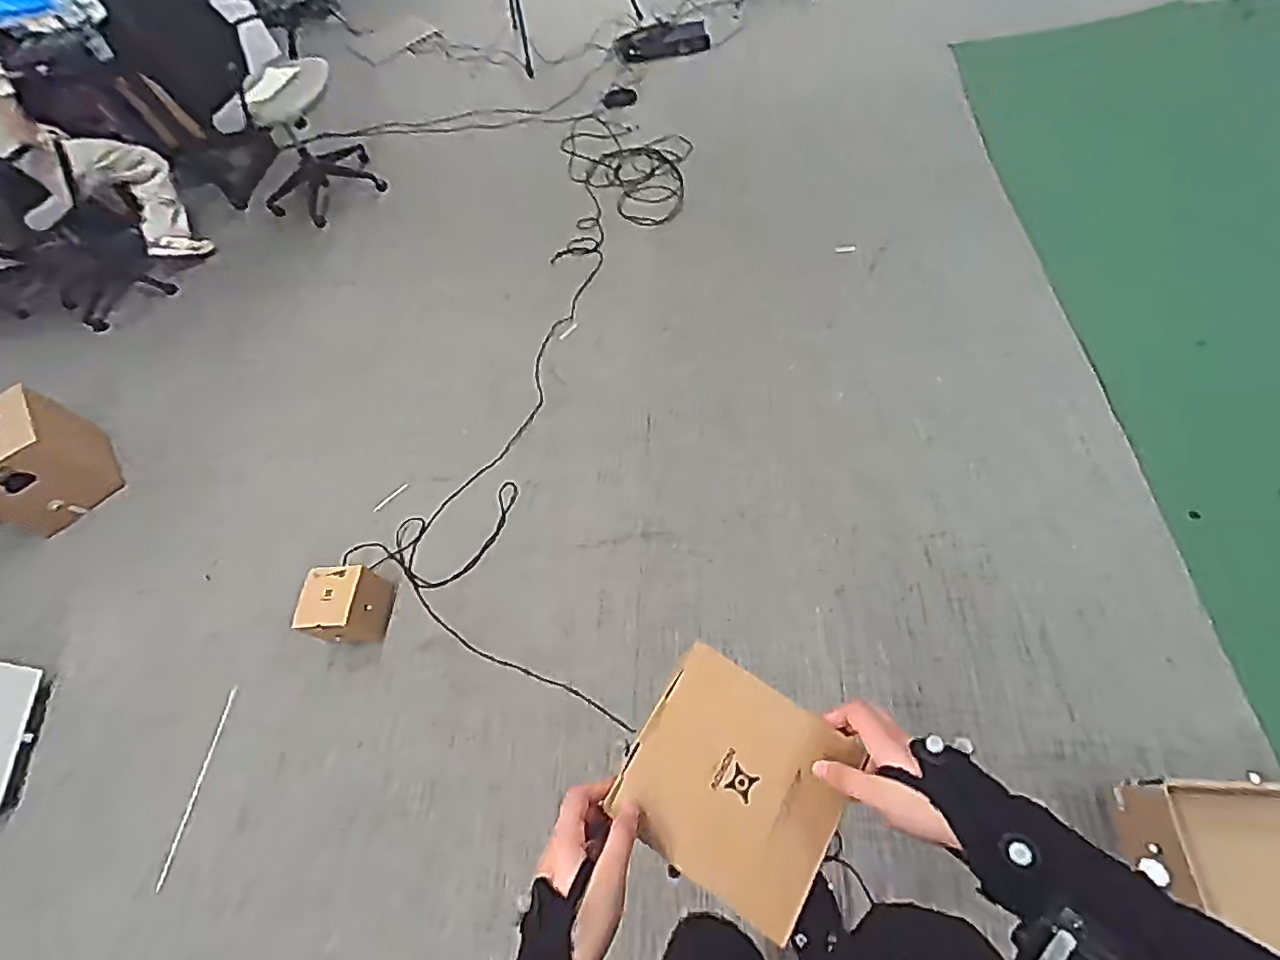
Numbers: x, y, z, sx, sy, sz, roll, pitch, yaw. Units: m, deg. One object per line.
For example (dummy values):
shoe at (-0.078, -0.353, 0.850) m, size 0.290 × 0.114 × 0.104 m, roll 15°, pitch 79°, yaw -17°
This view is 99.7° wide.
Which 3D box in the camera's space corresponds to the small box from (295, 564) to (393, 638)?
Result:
small box at (-0.843, 0.354, 1.559) m, size 0.168 × 0.176 × 0.179 m, roll -5°, pitch 61°, yaw 9°

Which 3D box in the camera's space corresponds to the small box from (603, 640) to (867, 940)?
small box at (0.082, 0.283, 0.534) m, size 0.179 × 0.176 × 0.168 m, roll 30°, pitch 72°, yaw 10°
